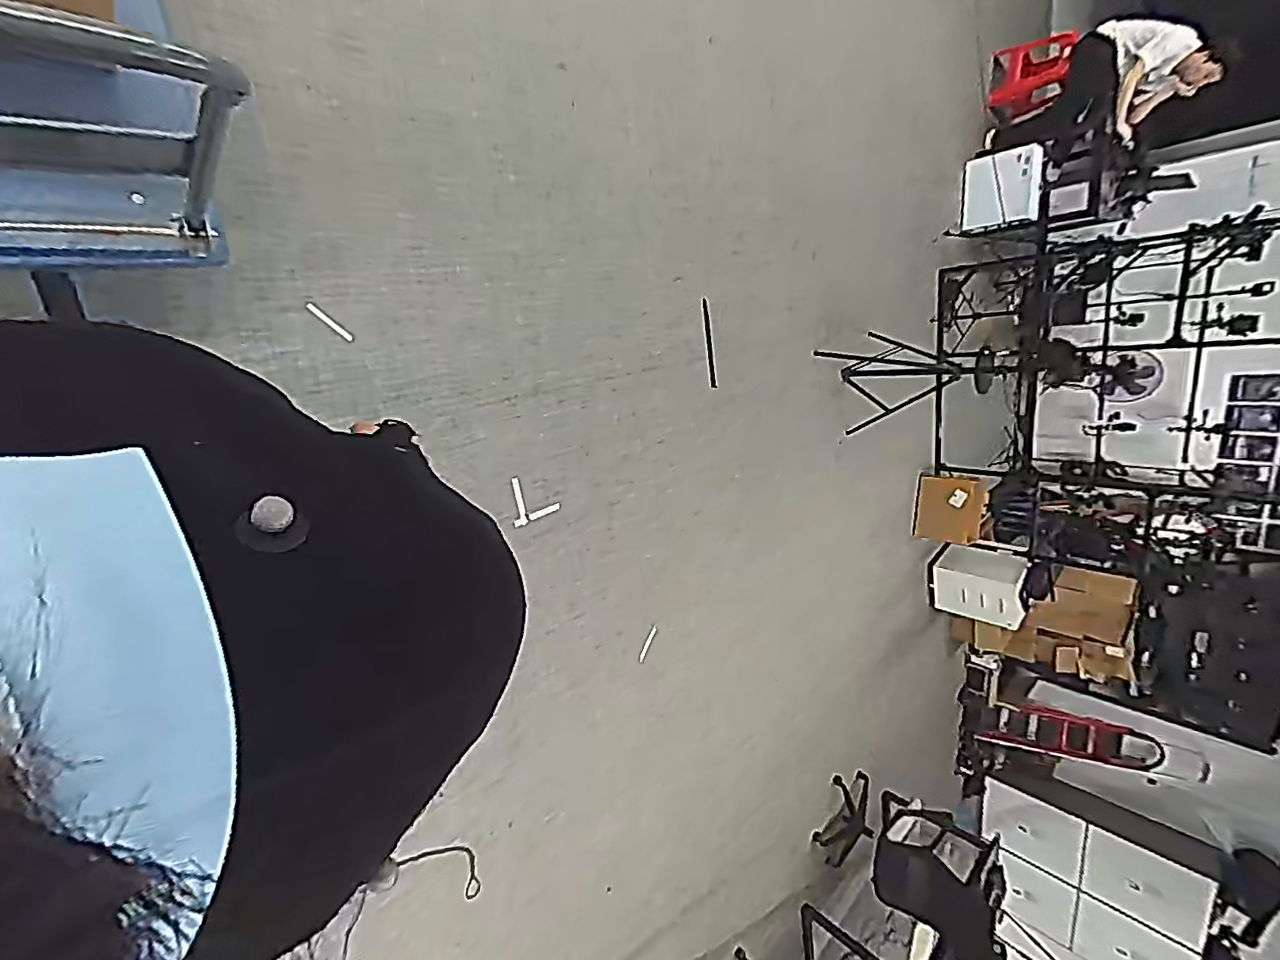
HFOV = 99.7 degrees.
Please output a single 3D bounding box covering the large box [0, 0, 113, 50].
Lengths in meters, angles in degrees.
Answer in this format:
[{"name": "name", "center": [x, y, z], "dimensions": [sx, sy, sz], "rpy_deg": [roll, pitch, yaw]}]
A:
[{"name": "large box", "center": [-0.941, -0.788, 0.632], "dimensions": [0.408, 0.320, 0.320], "rpy_deg": [-17, 108, -39]}]
